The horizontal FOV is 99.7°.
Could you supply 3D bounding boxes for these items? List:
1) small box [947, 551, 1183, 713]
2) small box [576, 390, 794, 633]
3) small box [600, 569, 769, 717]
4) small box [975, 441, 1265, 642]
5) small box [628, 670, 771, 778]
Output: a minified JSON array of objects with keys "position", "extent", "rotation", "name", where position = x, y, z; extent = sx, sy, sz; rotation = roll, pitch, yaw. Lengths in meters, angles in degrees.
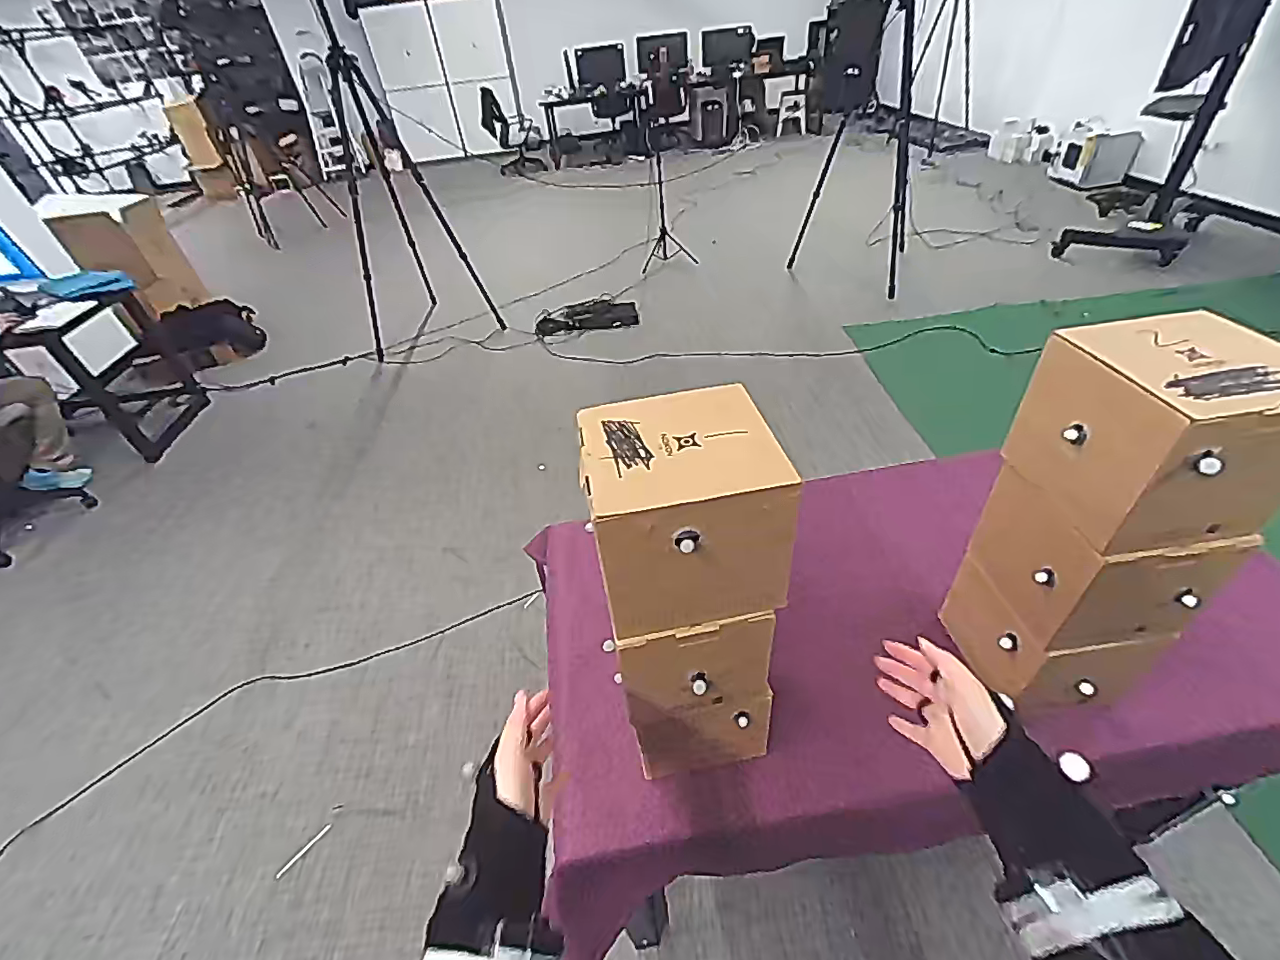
[{"position":[0.568,0.206,0.757],"extent":[0.168,0.176,0.179],"rotation":[-9,40,-1],"name":"small box"},{"position":[0.040,0.033,0.547],"extent":[0.179,0.176,0.168],"rotation":[-10,40,-4],"name":"small box"},{"position":[0.047,0.163,0.649],"extent":[0.168,0.176,0.179],"rotation":[-10,40,-3],"name":"small box"},{"position":[0.549,0.079,0.655],"extent":[0.168,0.176,0.179],"rotation":[-8,40,1],"name":"small box"},{"position":[0.072,0.288,0.753],"extent":[0.179,0.176,0.168],"rotation":[-11,40,-3],"name":"small box"}]
